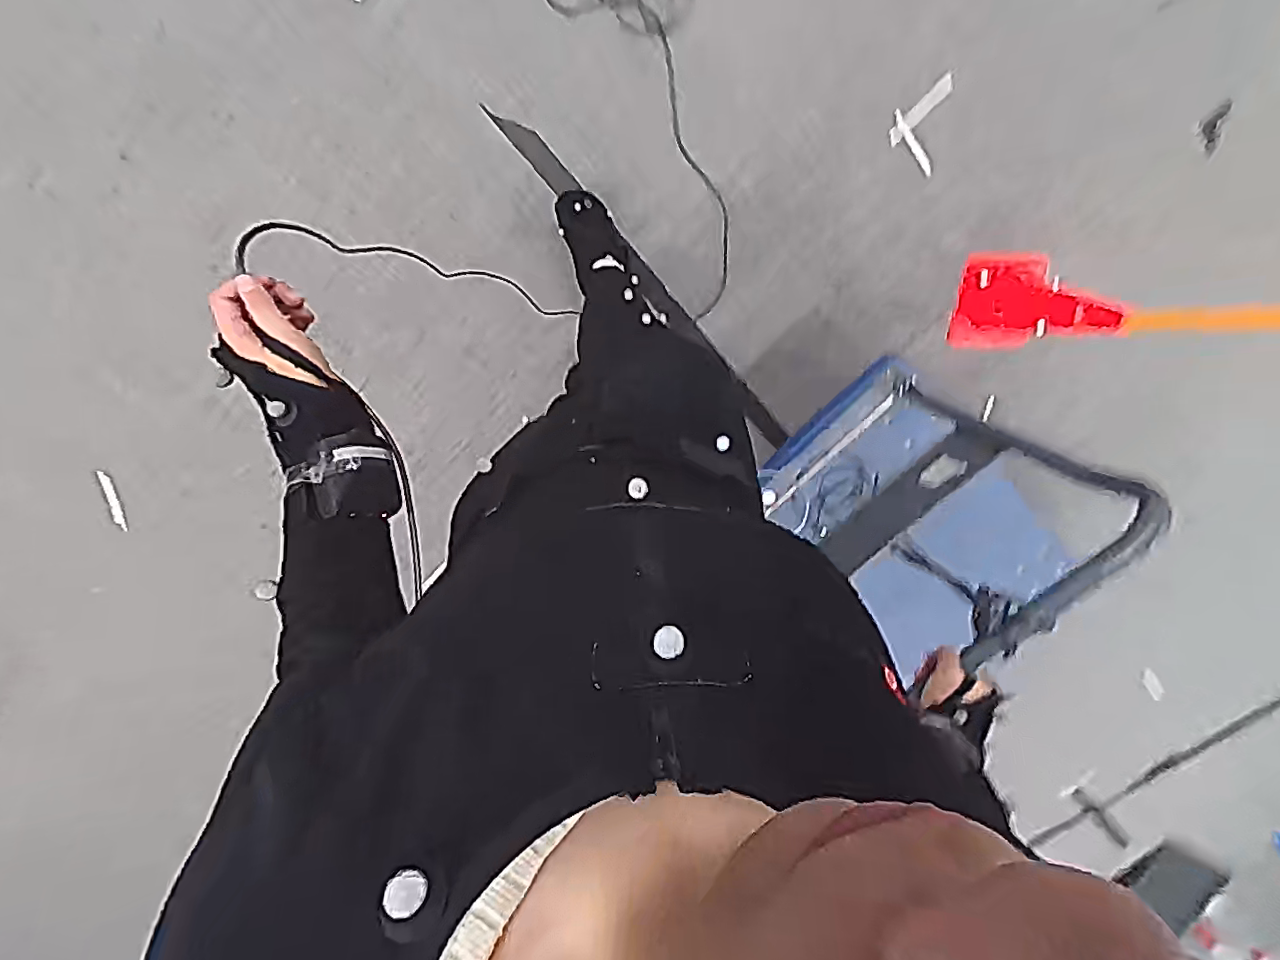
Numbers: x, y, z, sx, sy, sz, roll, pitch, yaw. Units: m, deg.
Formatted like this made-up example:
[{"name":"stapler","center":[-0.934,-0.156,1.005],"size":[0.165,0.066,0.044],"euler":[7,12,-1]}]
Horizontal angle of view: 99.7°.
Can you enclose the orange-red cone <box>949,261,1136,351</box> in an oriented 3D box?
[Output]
[{"name":"orange-red cone","center":[0.855,-0.338,1.120],"size":[0.198,0.360,0.199],"euler":[1,114,-4]}]
